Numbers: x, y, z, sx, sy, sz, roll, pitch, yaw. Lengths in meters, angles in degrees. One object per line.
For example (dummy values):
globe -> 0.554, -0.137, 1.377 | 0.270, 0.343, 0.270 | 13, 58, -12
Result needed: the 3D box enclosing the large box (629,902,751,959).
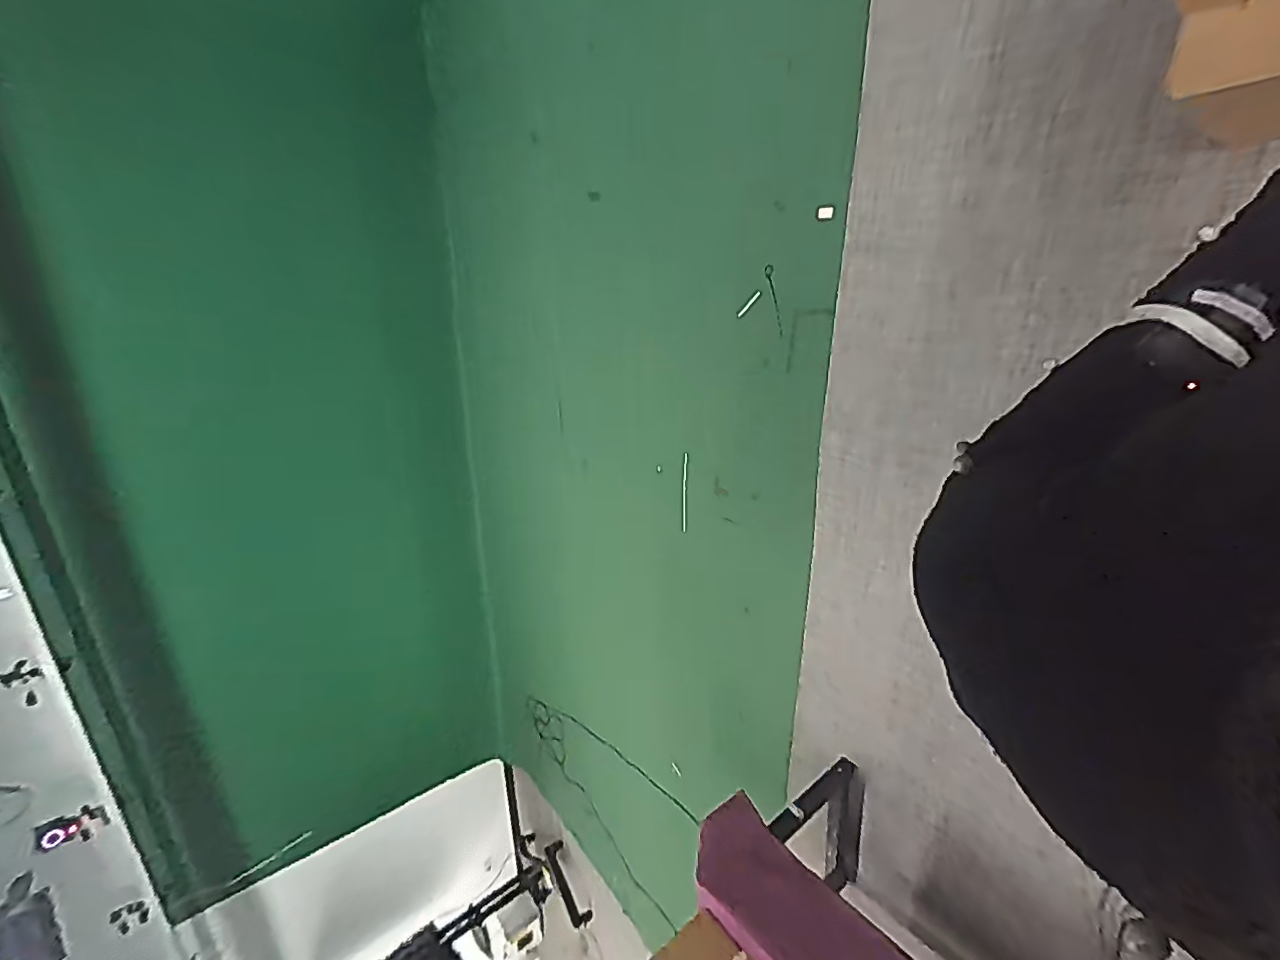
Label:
large box -> 0.139, 1.451, 1.405 | 0.320, 0.320, 0.408 | 21, 117, 47
